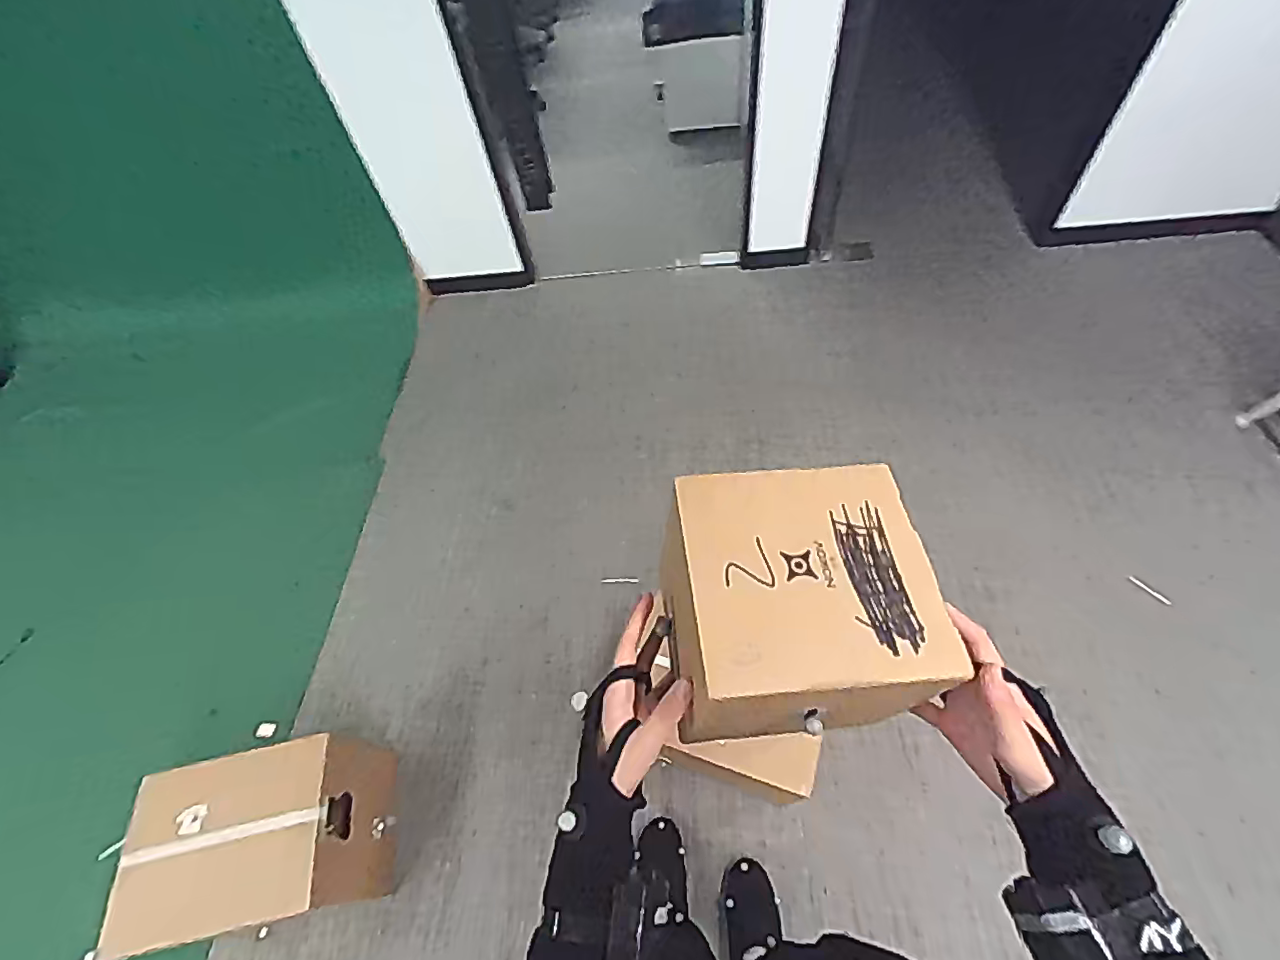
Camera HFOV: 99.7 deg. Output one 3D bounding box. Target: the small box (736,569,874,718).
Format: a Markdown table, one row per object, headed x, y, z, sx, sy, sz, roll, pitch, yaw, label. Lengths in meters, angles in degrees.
| x | y | z | sx | sy | sz | roll | pitch | yaw | label |
| --- | --- | --- | --- | --- | --- | --- | --- | --- | --- |
| 0.270 | 0.280 | 0.908 | 0.179 | 0.176 | 0.168 | 16 | 57 | 18 | small box |

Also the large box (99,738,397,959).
| x | y | z | sx | sy | sz | roll | pitch | yaw | label |
| --- | --- | --- | --- | --- | --- | --- | --- | --- | --- |
| -0.800 | 0.799 | 1.184 | 0.408 | 0.320 | 0.320 | -13 | 54 | -1 | large box |

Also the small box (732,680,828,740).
| x | y | z | sx | sy | sz | roll | pitch | yaw | label |
| --- | --- | --- | --- | --- | --- | --- | --- | --- | --- |
| 0.278 | 0.372 | 1.041 | 0.168 | 0.176 | 0.179 | 15 | 57 | 17 | small box |
